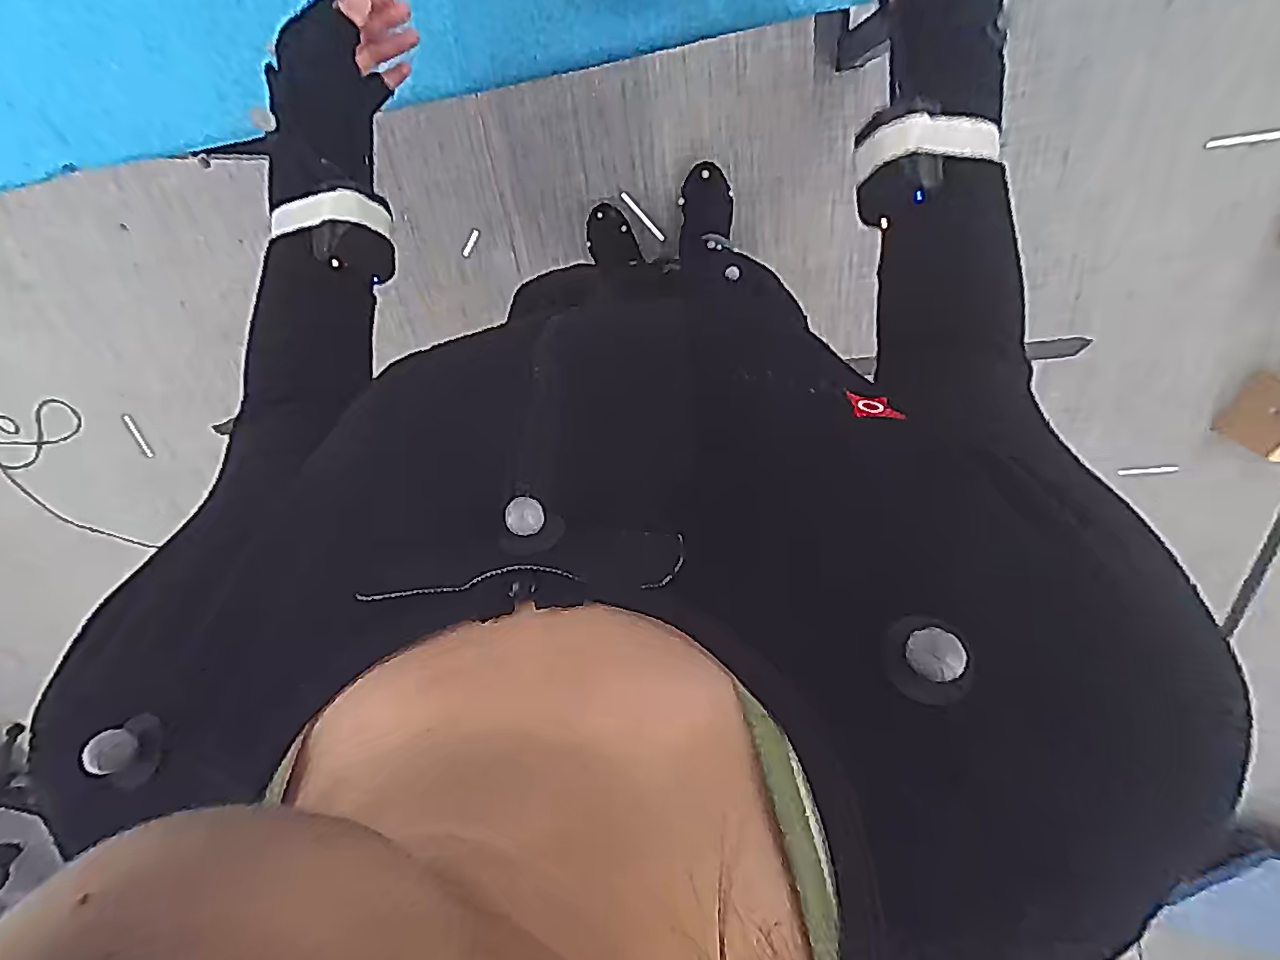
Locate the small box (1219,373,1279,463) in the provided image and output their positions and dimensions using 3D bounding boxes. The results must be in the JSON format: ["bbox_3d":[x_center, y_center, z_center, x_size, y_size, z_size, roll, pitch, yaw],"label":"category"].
[{"bbox_3d":[1.613,-0.146,1.327,0.168,0.176,0.179,9,122,-2],"label":"small box"}]
